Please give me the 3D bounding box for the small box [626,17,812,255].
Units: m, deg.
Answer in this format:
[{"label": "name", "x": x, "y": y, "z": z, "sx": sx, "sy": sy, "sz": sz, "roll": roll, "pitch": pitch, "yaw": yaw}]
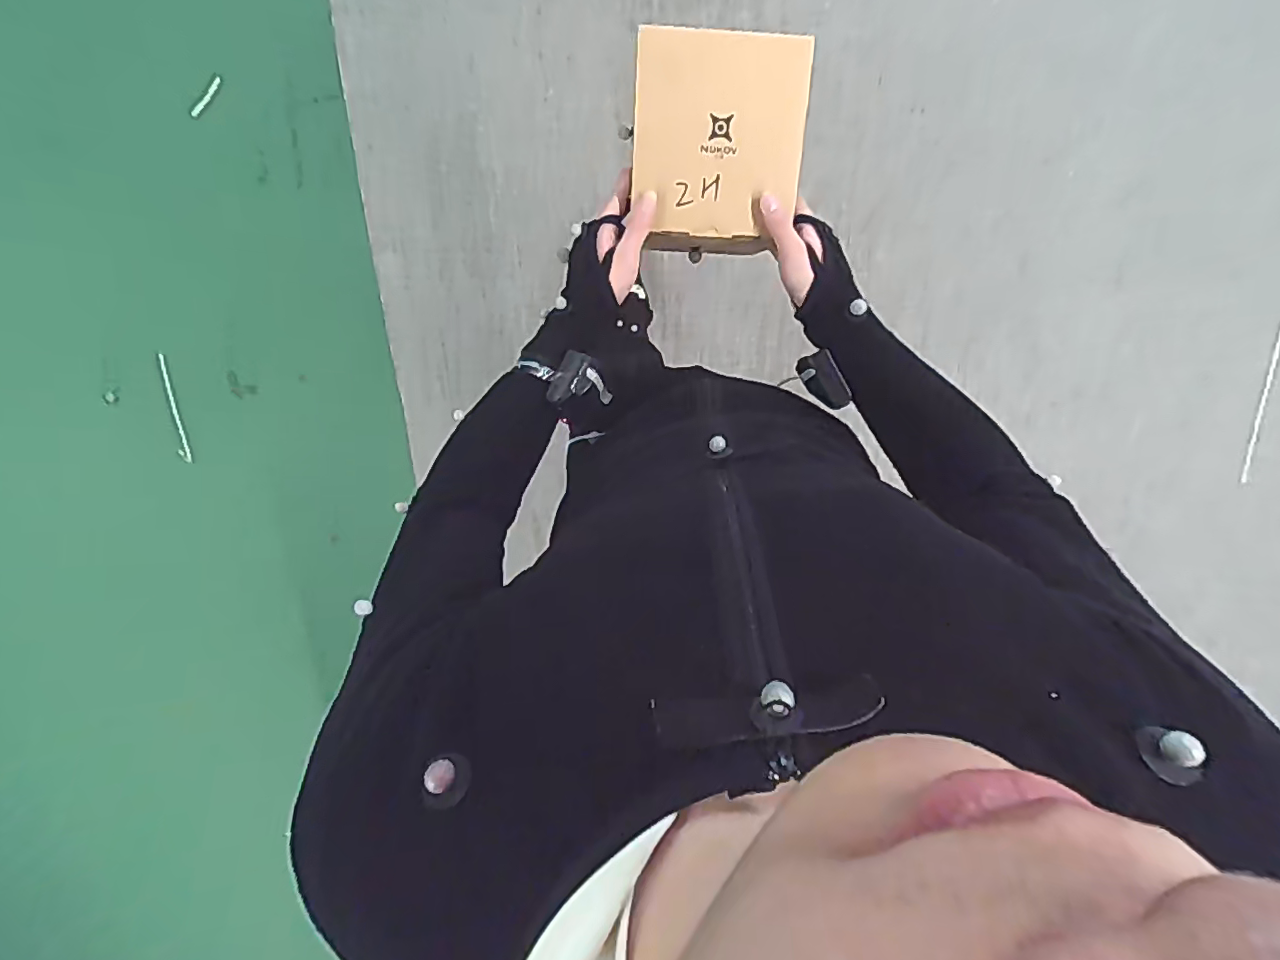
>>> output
[{"label": "small box", "x": 0.071, "y": -0.355, "z": 0.594, "sx": 0.168, "sy": 0.176, "sz": 0.179, "roll": 3, "pitch": 107, "yaw": -2}]
